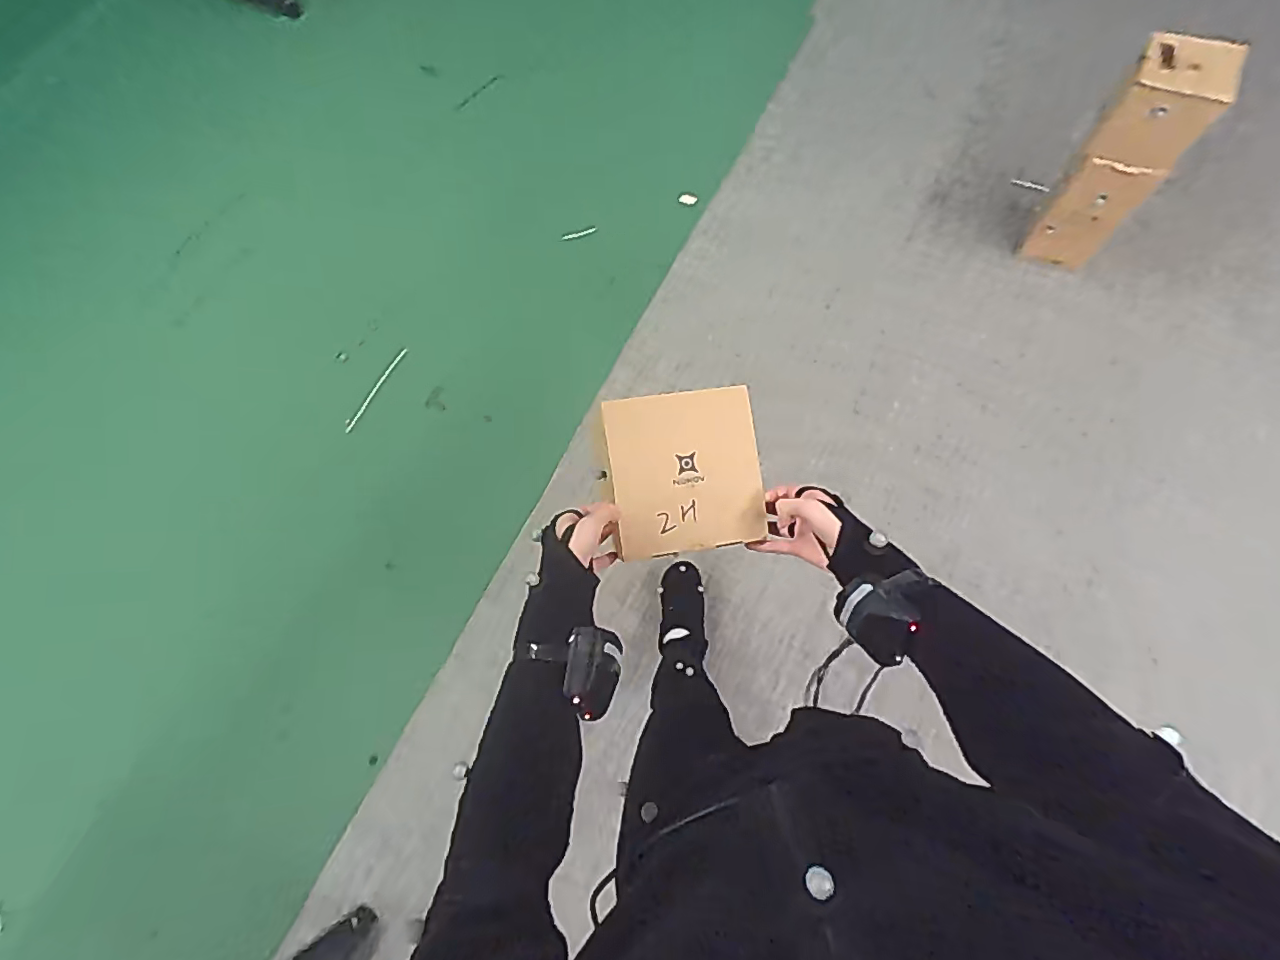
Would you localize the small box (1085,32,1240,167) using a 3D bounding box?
[{"bbox_3d":[1.137,-0.831,1.191,0.179,0.176,0.168,23,76,13],"label":"small box"}]

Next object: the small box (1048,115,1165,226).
[{"bbox_3d":[1.161,-0.771,1.344,0.168,0.176,0.179,22,76,13],"label":"small box"}]

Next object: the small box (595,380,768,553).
[{"bbox_3d":[0.039,-0.013,0.659,0.168,0.176,0.179,-7,89,-8],"label":"small box"}]
